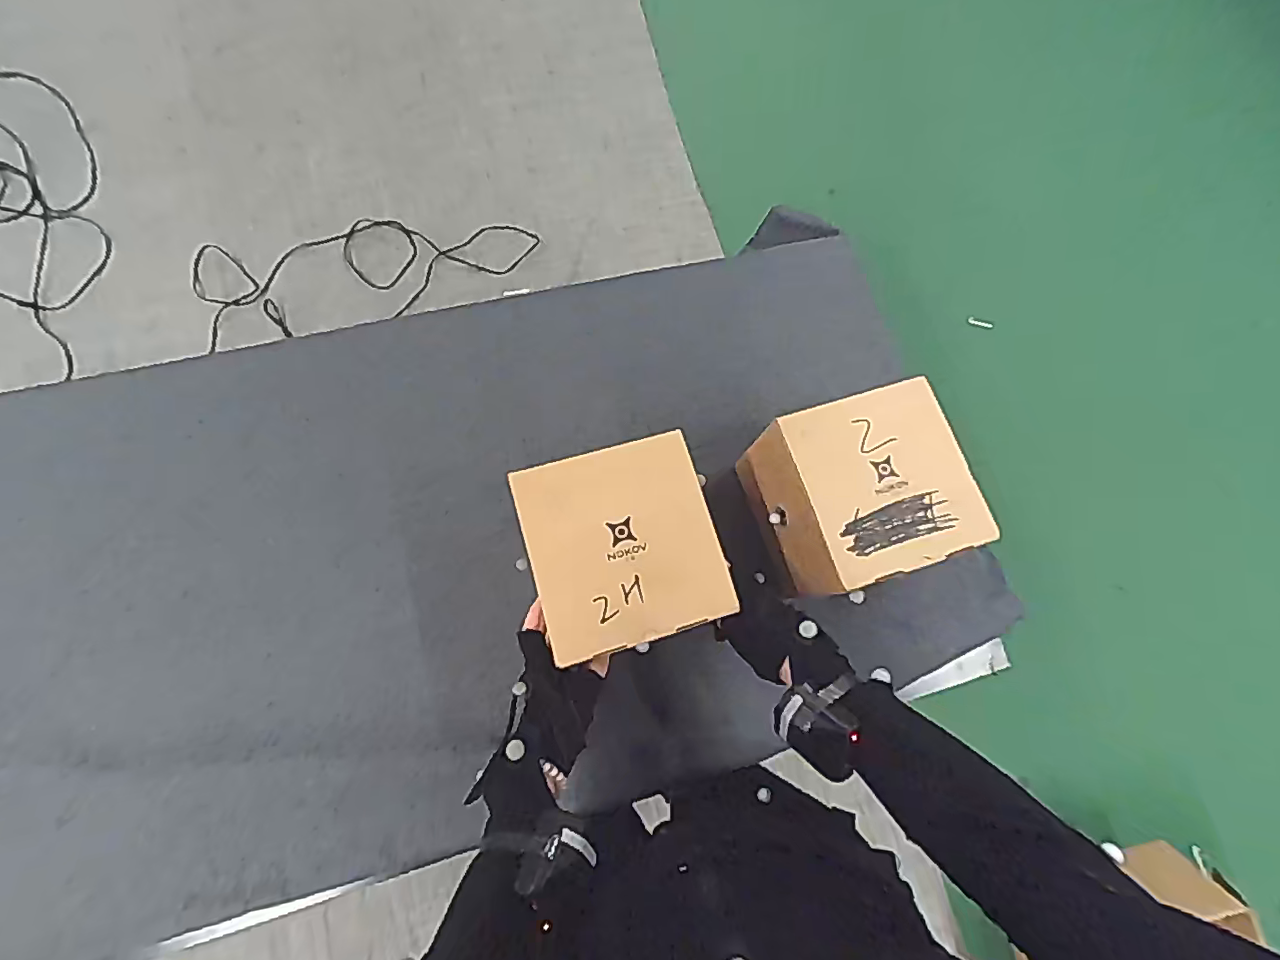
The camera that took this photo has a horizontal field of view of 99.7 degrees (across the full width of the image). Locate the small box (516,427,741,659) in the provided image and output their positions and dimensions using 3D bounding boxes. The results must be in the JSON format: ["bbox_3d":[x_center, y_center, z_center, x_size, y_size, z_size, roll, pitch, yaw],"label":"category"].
[{"bbox_3d":[-0.020,0.070,0.551,0.168,0.176,0.179,-15,77,-8],"label":"small box"}]
